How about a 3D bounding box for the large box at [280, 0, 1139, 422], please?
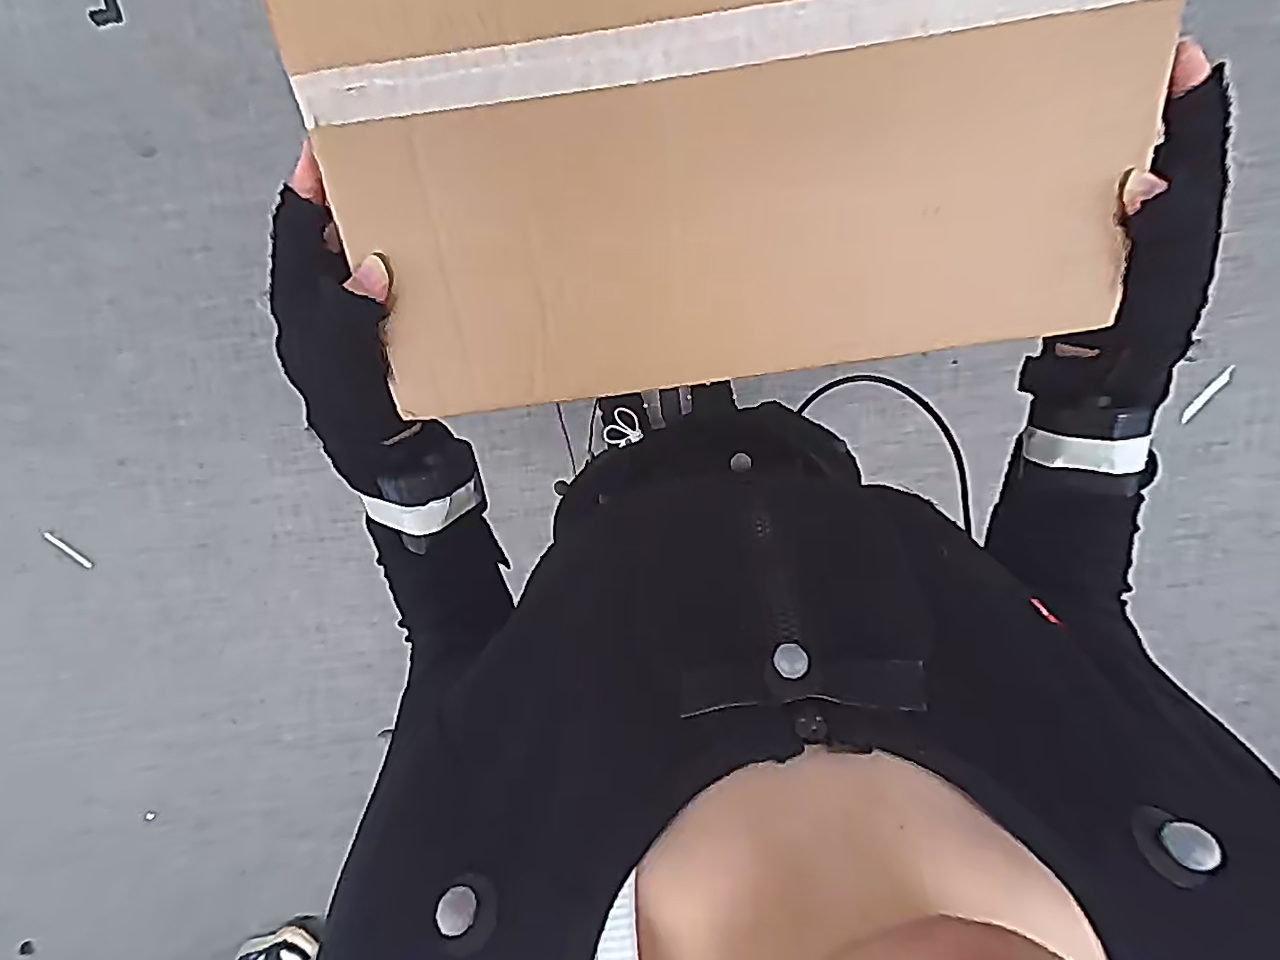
[{"bbox_3d":[0.036,-0.261,0.394,0.408,0.320,0.320,-8,113,1],"label":"large box"}]
